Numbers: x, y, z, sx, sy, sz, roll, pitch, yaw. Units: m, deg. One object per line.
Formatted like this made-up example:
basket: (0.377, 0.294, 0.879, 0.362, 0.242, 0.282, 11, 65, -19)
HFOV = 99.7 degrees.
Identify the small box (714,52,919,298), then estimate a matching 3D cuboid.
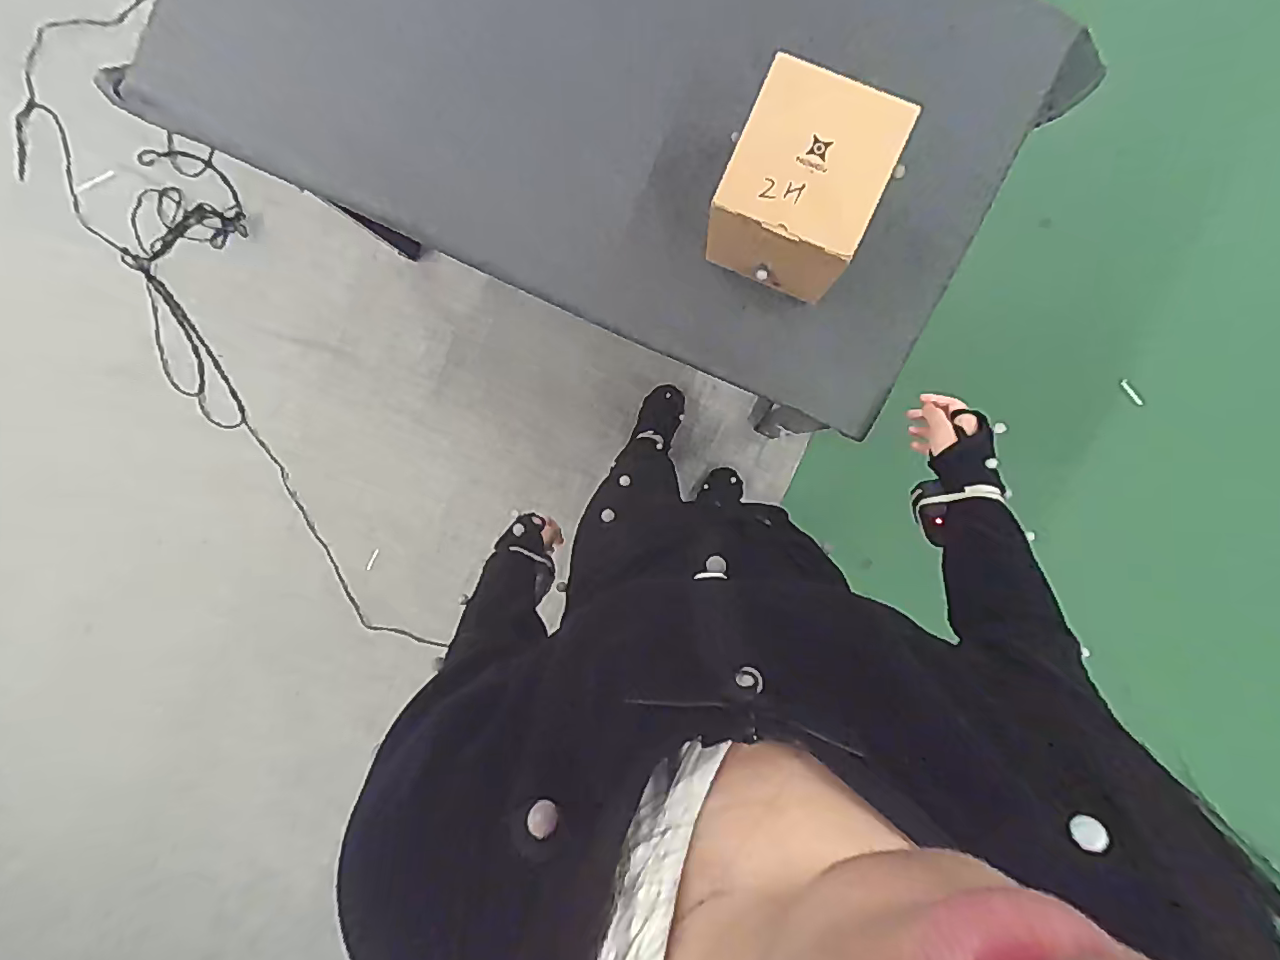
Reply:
small box: (0.195, -0.353, 0.661, 0.168, 0.176, 0.179, 24, 95, 5)
